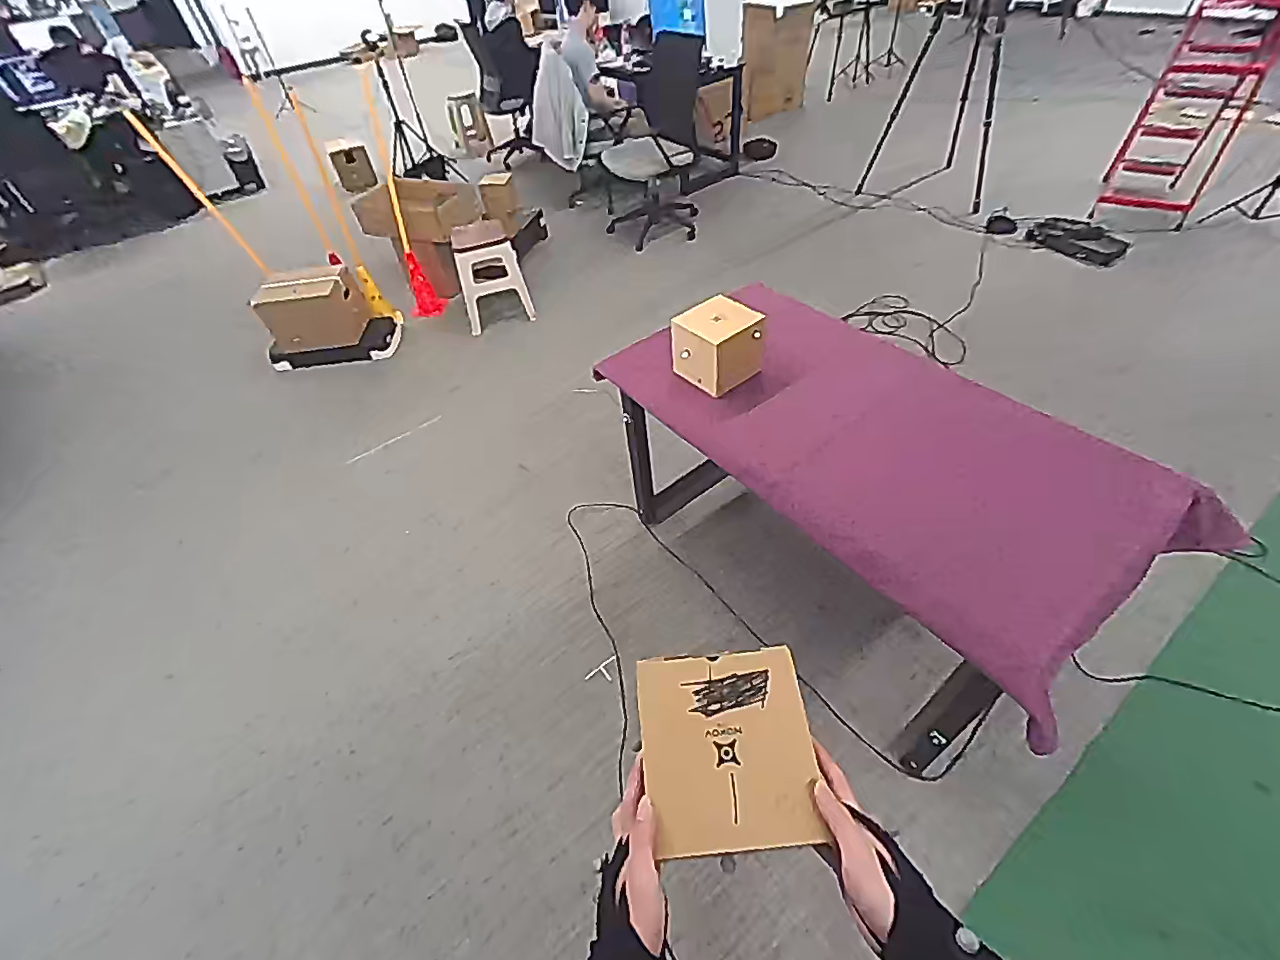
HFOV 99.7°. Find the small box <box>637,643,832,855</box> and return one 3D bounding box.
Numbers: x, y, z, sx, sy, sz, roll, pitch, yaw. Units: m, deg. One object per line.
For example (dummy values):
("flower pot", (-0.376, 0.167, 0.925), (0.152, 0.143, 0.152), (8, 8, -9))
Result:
("small box", (0.086, 0.295, 0.585), (0.168, 0.176, 0.179), (-6, 56, 1))

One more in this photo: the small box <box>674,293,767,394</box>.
("small box", (0.211, -0.353, 1.409), (0.179, 0.176, 0.168), (-33, 52, -22))
